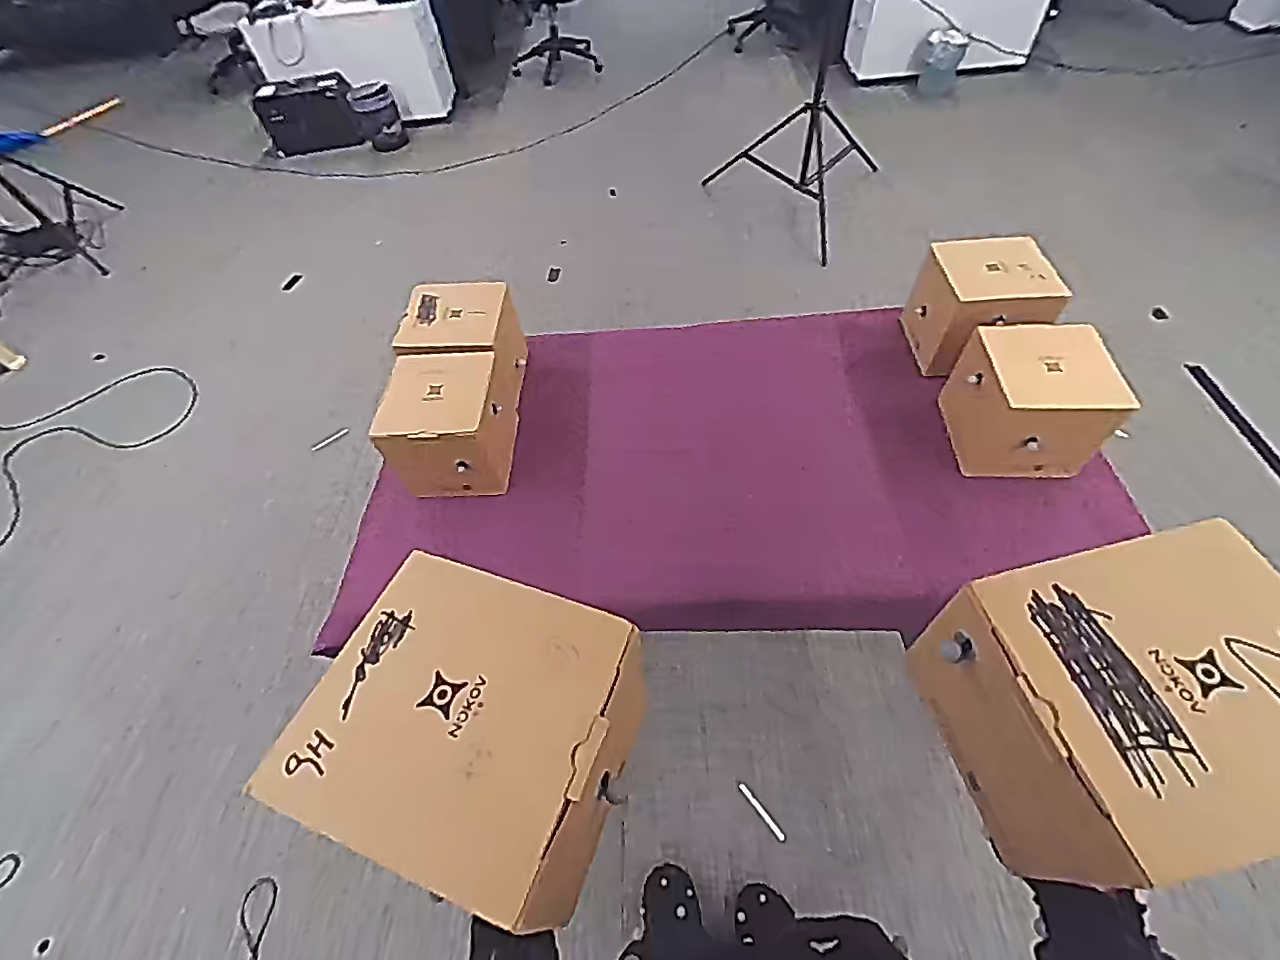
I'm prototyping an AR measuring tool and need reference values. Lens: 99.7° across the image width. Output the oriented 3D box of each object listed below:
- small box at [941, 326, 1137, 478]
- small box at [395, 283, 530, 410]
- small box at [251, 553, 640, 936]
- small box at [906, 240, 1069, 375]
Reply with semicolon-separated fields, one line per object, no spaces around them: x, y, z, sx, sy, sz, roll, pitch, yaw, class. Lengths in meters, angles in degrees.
0.603;-0.117;0.847;0.168;0.176;0.179;1;54;7;small box
-0.319;-0.245;1.009;0.179;0.176;0.168;0;57;3;small box
-0.106;0.183;0.387;0.179;0.176;0.168;16;54;14;small box
0.601;-0.304;0.969;0.179;0.176;0.168;-1;56;3;small box
